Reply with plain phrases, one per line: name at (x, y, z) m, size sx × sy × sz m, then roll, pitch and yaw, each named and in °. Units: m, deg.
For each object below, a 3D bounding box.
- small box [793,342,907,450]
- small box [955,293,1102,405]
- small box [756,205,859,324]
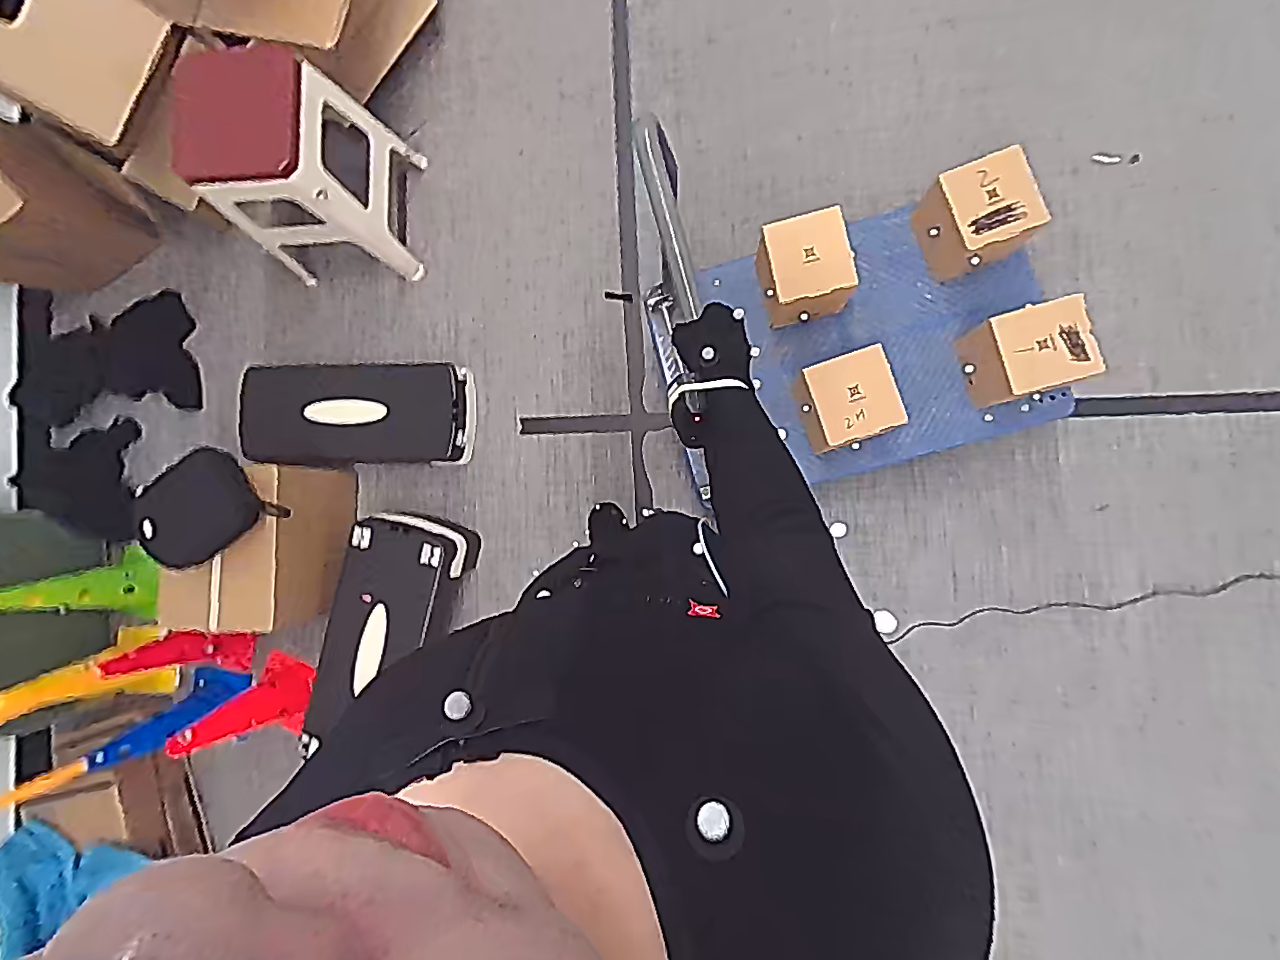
small box at (0.450, -0.176, 1.188) m, size 0.168 × 0.176 × 0.179 m, roll -18°, pitch 86°, yaw 6°
small box at (0.812, -0.268, 1.147) m, size 0.179 × 0.176 × 0.168 m, roll -15°, pitch 86°, yaw 7°
small box at (0.365, -0.473, 1.211) m, size 0.168 × 0.176 × 0.179 m, roll -13°, pitch 88°, yaw 6°
